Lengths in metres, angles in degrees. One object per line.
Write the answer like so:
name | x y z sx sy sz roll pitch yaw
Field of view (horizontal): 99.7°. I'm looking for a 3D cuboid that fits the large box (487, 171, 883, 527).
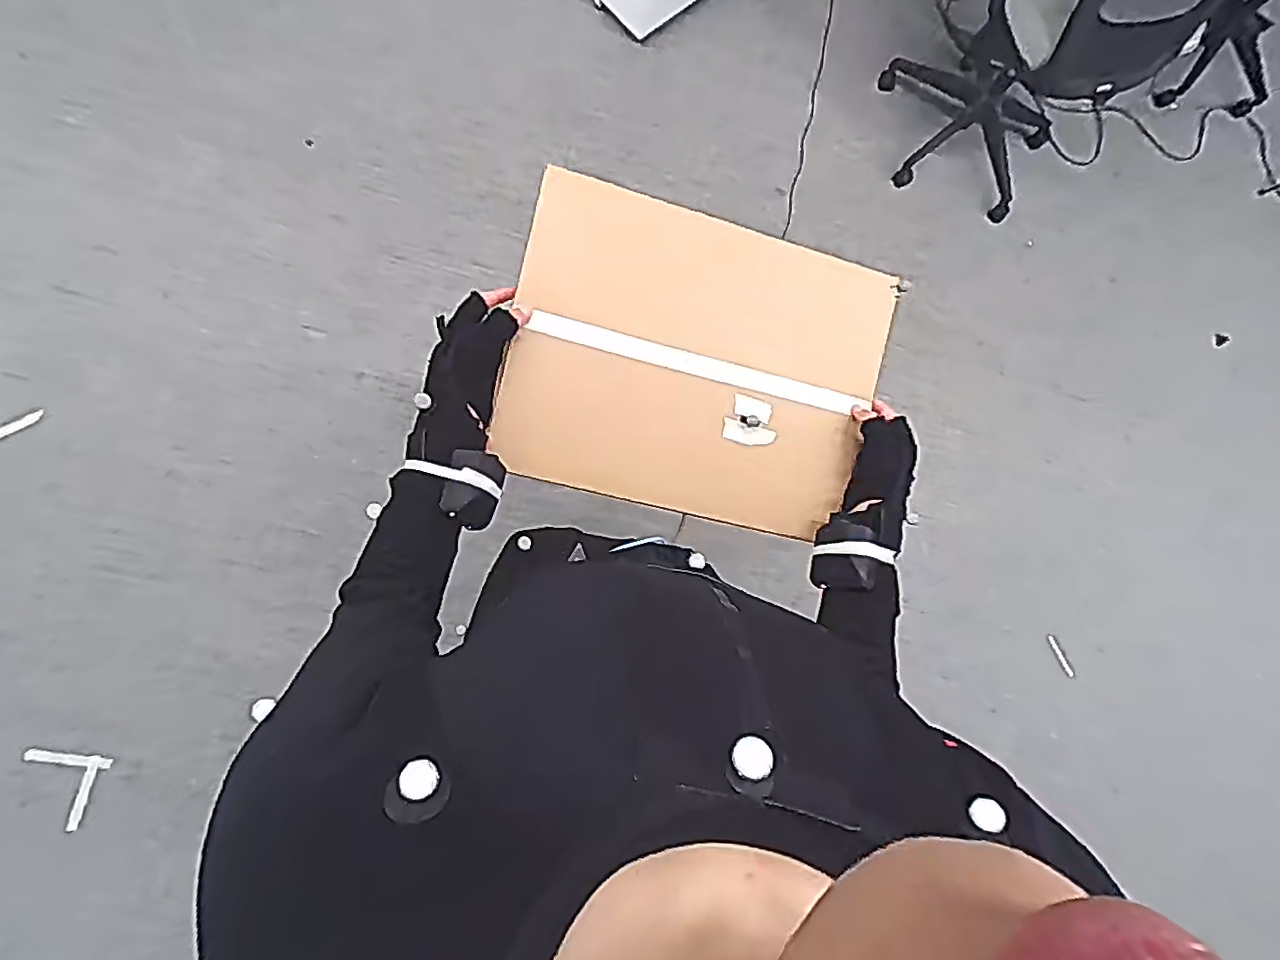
large box | 0.035 -0.139 0.740 0.408 0.320 0.320 13 91 -10
